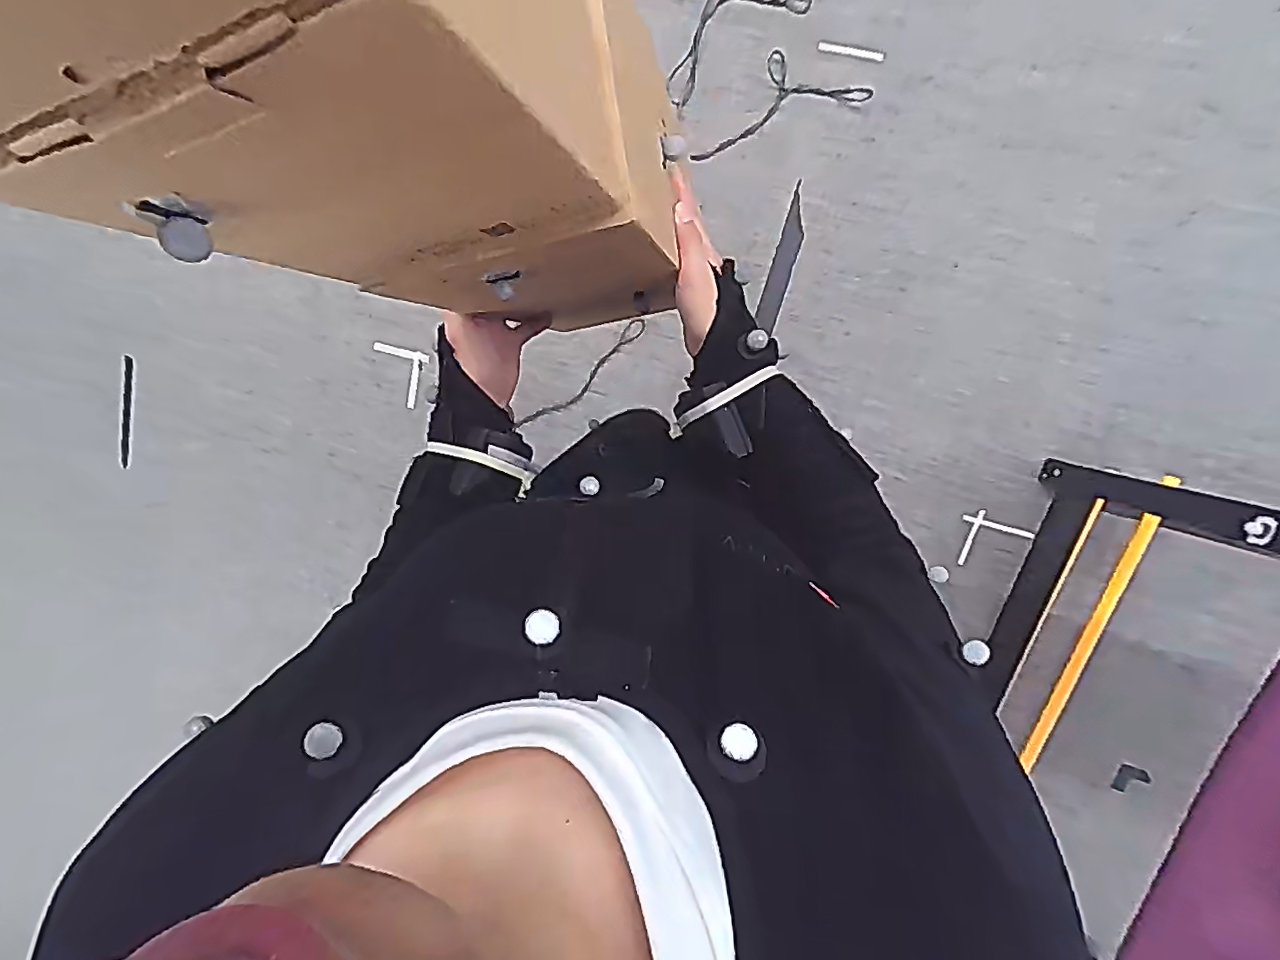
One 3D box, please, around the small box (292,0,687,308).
[{"bbox_3d":[-0.076,-0.219,0.354,0.179,0.176,0.168,-7,99,15],"label":"small box"}]
